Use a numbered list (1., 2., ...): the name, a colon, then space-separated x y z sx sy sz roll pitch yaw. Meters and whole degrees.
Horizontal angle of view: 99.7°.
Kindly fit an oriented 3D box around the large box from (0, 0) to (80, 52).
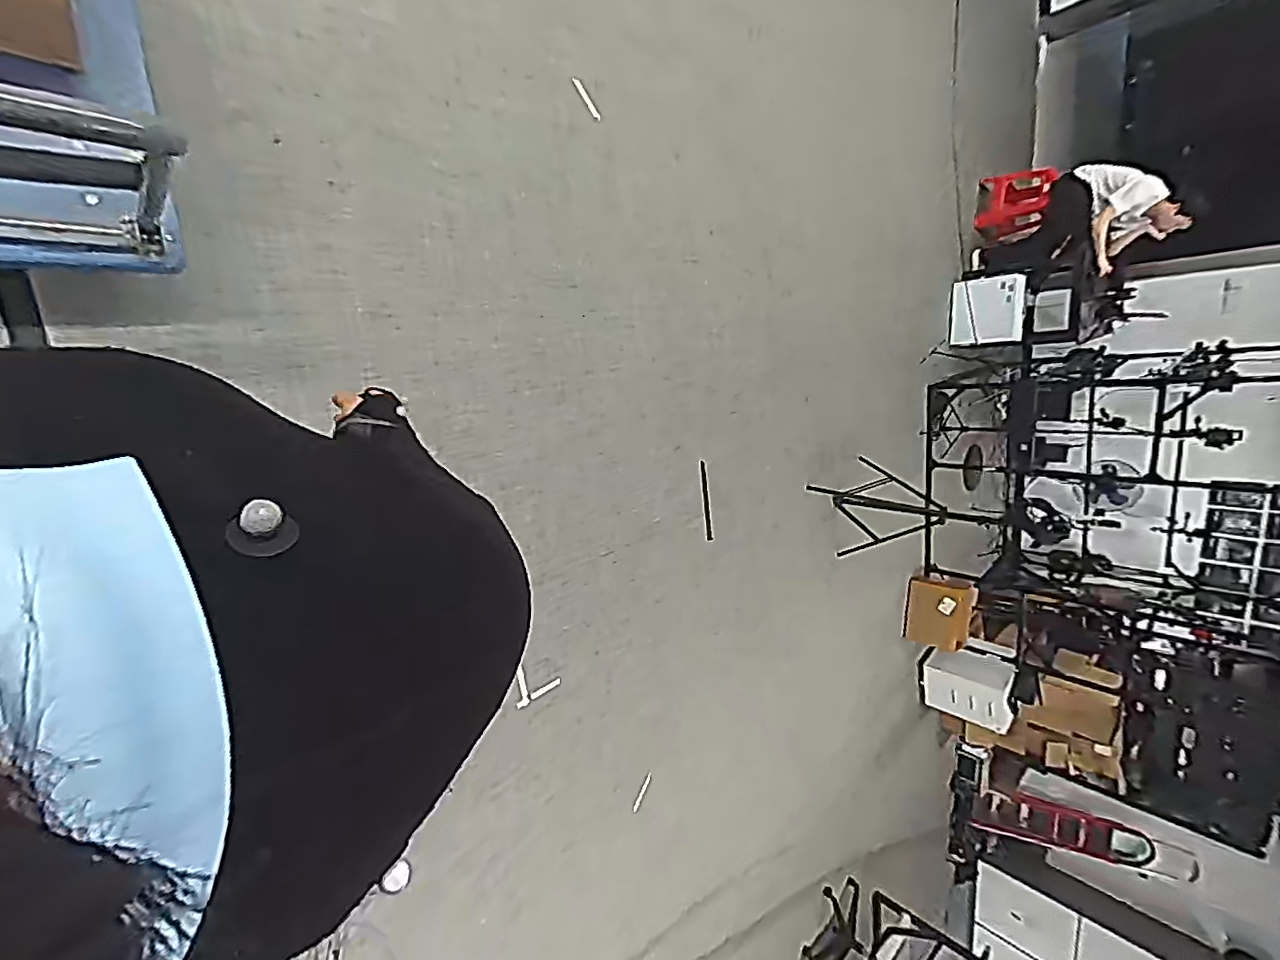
1. large box: -0.975 -0.795 0.622 0.408 0.320 0.320 -11 103 -41
